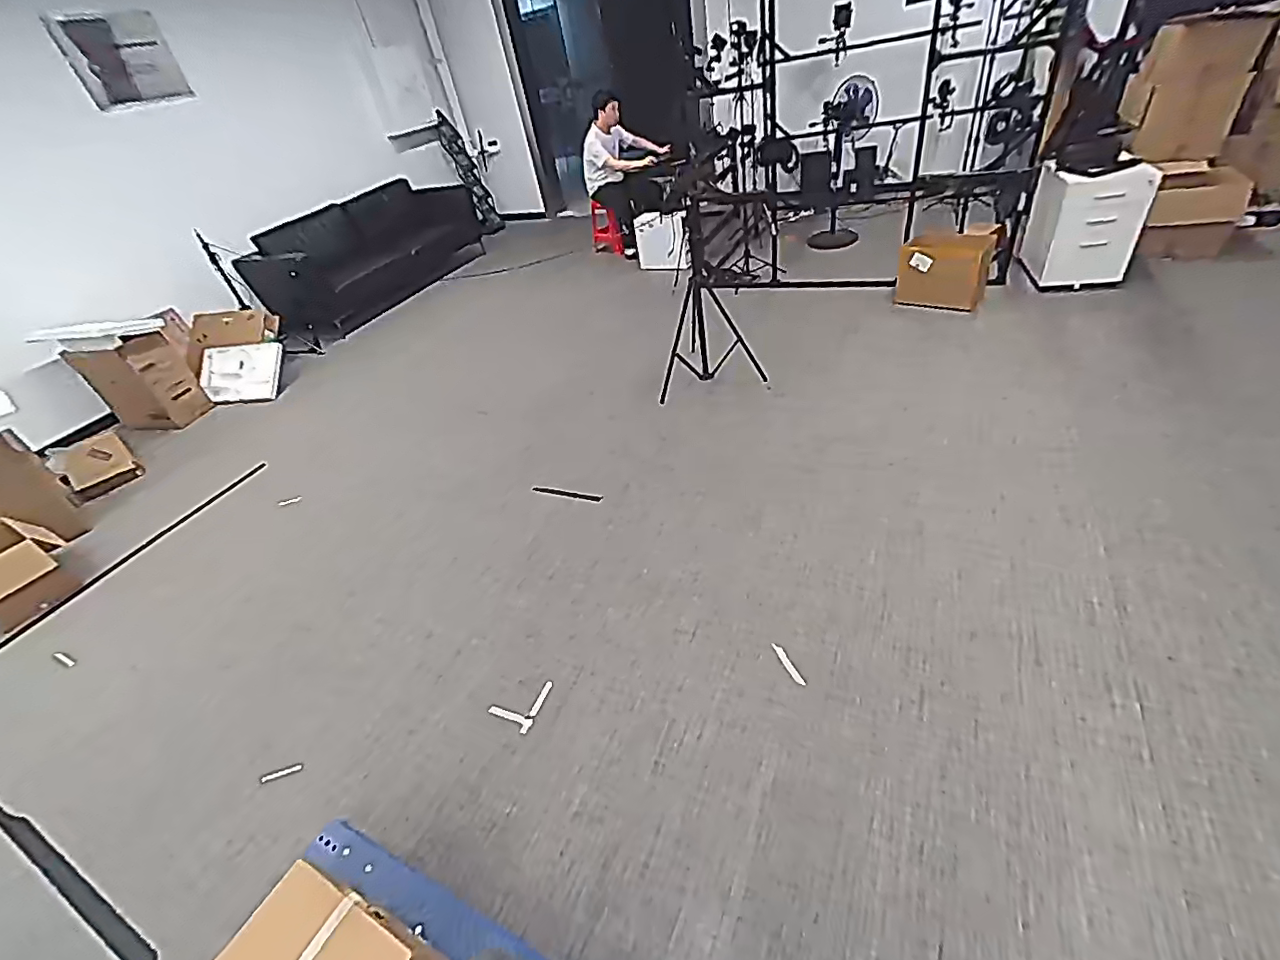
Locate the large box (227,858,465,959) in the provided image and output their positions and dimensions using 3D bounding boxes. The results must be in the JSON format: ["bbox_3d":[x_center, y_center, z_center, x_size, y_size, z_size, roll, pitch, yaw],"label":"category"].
[{"bbox_3d":[-0.551,0.965,0.914,0.320,0.320,0.408,11,45,28],"label":"large box"}]
